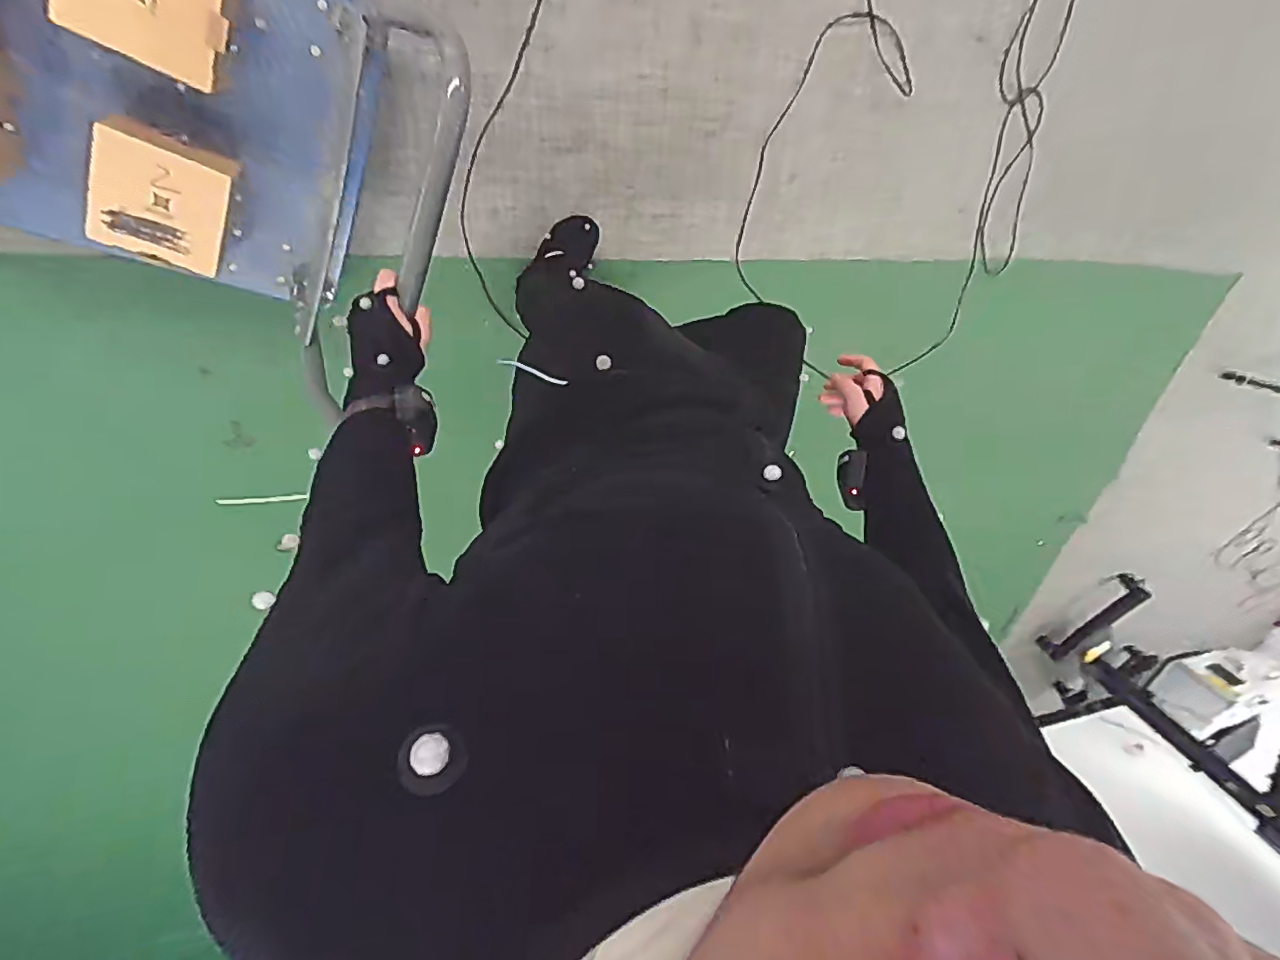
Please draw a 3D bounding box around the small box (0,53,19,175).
[{"bbox_3d":[-1.014,-0.537,0.745,0.179,0.176,0.168,5,121,-33],"label":"small box"}]

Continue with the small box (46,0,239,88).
[{"bbox_3d":[-0.713,-0.710,0.791,0.179,0.176,0.168,10,118,-37],"label":"small box"}]
